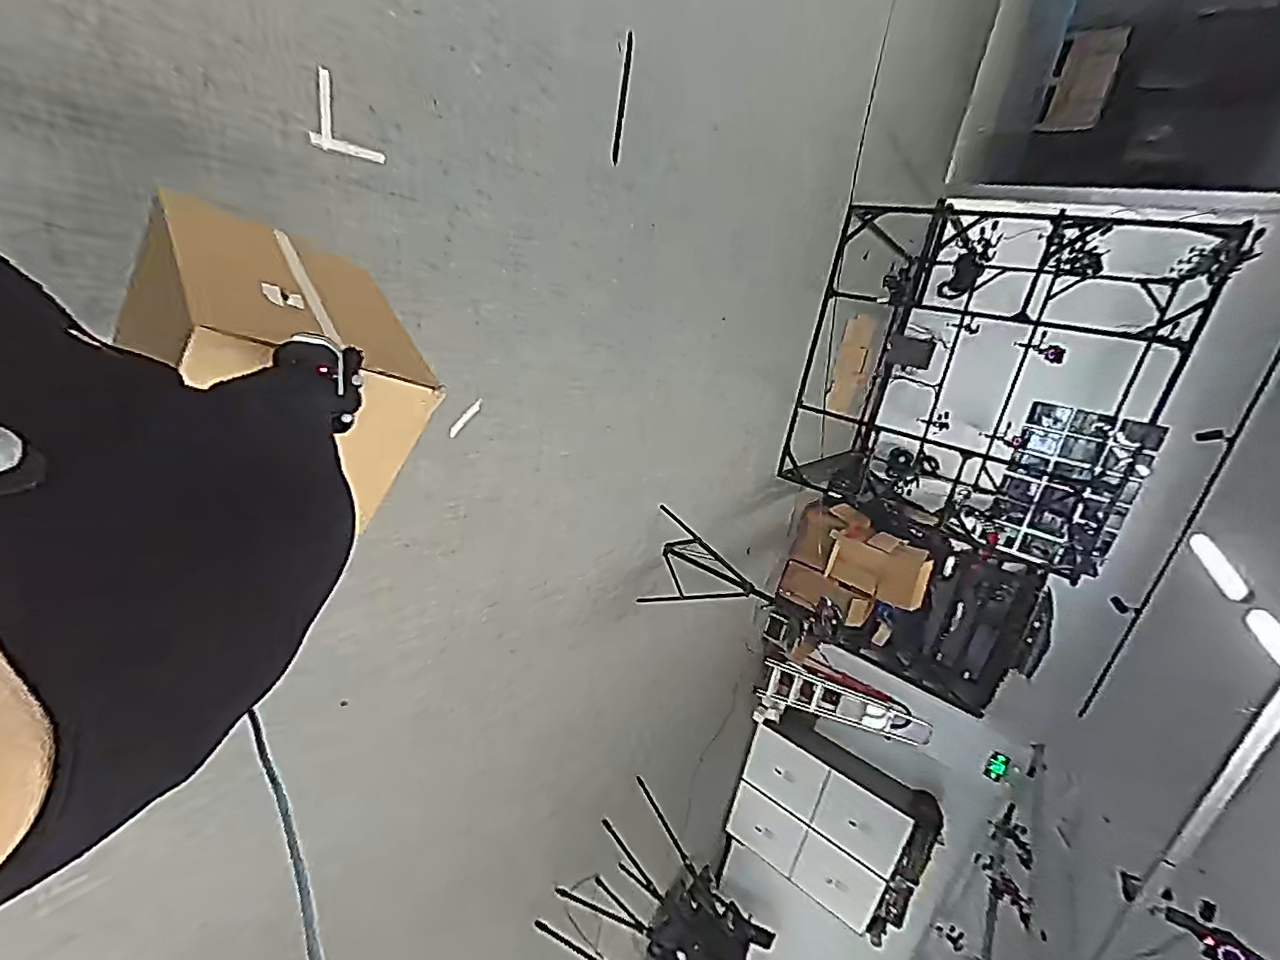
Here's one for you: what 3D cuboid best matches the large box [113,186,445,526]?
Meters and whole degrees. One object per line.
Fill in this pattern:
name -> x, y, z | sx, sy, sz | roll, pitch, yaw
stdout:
large box -> -0.594, -0.179, 0.877 | 0.320, 0.408, 0.320 | 10, 126, -53
